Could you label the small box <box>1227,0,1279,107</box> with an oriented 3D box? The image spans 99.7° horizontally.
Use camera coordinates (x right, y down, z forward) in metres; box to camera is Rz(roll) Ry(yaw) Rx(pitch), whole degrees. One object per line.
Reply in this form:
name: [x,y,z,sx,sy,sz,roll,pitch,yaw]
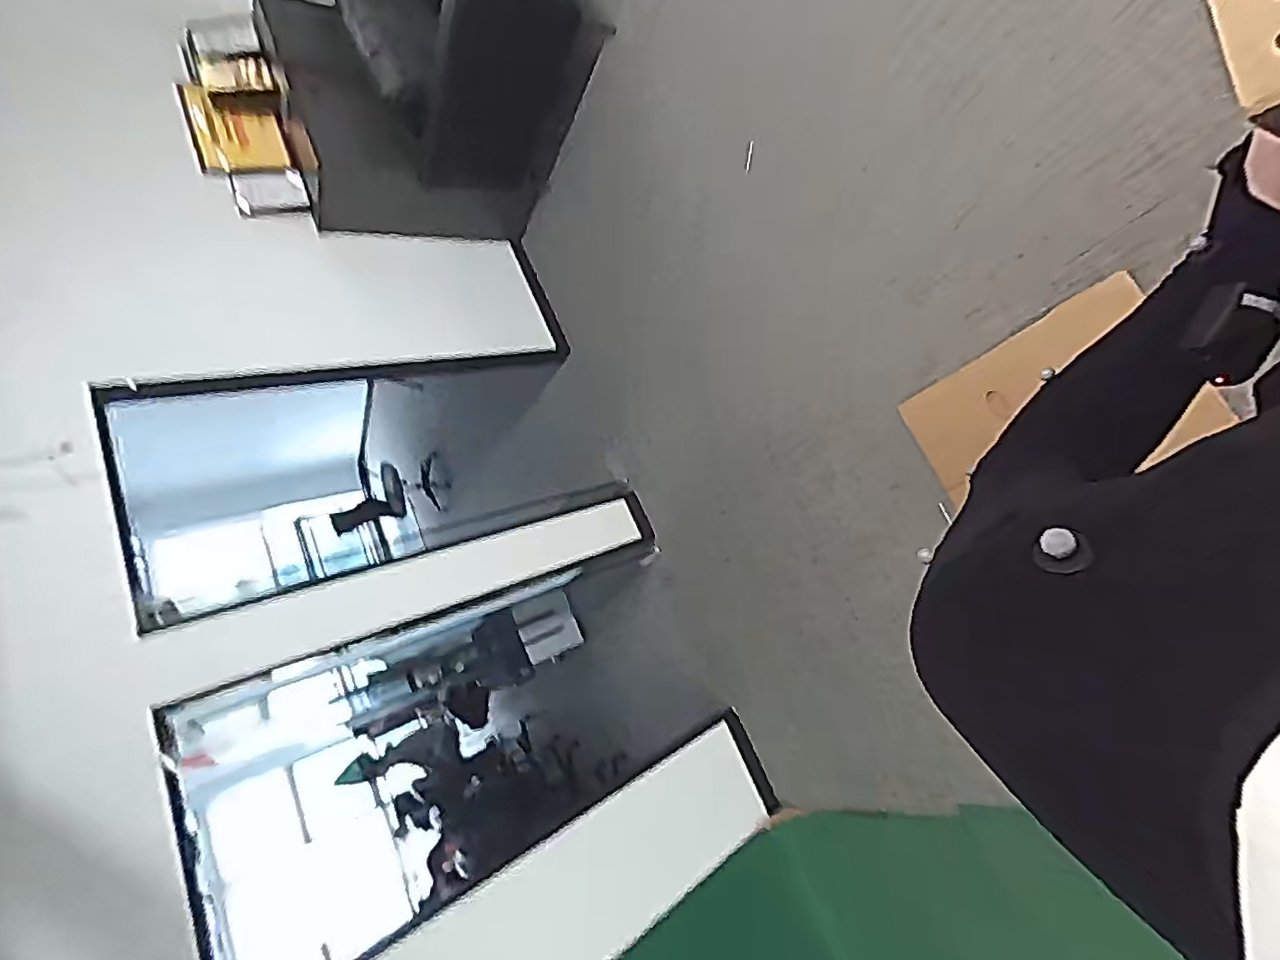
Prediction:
small box: [0.356,-0.282,0.208,0.179,0.176,0.168,-14,94,57]
